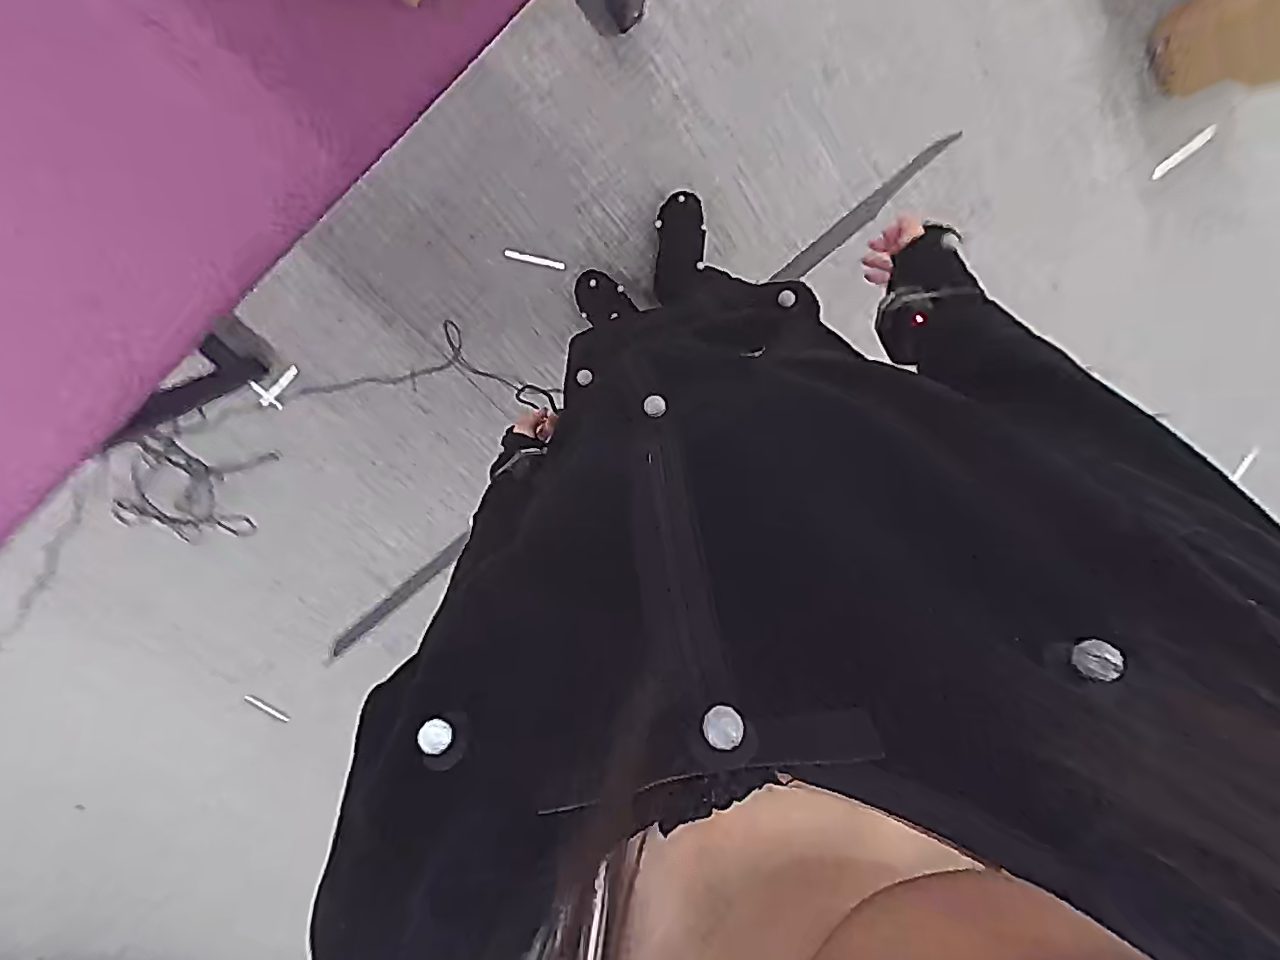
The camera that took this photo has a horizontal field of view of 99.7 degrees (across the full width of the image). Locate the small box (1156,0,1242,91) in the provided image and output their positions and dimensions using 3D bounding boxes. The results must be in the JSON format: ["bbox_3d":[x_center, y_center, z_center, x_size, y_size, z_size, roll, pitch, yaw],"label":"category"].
[{"bbox_3d":[1.213,-0.941,1.099,0.179,0.176,0.168,-40,113,12],"label":"small box"}]

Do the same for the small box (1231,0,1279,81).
[{"bbox_3d":[1.218,-0.857,0.957,0.168,0.176,0.179,-37,114,12],"label":"small box"}]
